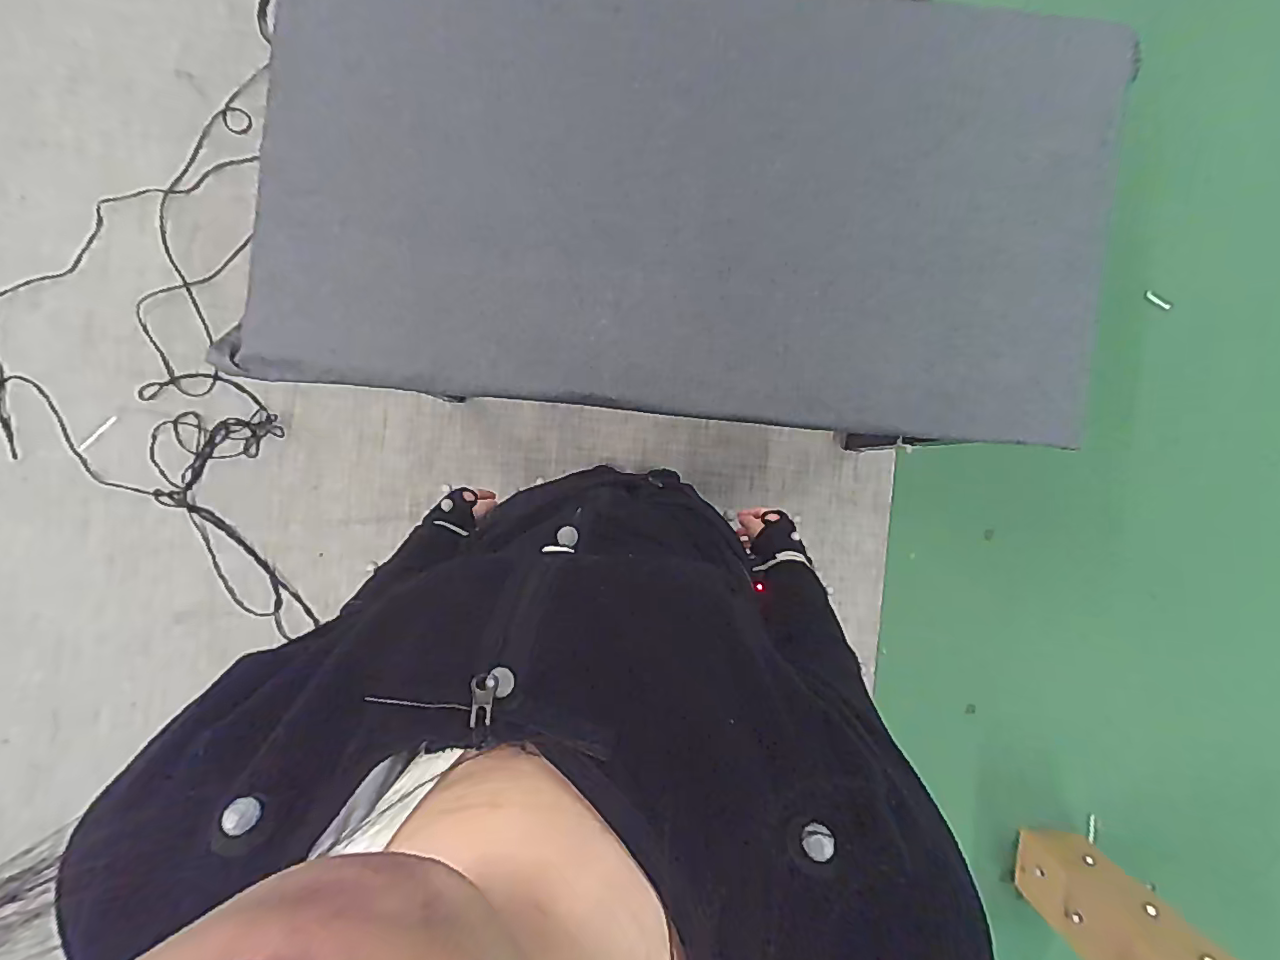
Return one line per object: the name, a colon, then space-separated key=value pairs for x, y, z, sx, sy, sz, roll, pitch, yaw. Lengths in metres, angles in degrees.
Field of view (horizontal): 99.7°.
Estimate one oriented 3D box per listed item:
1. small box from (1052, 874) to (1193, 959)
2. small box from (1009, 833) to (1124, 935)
small box: x=1.143 y=1.086 z=1.291 sx=0.179 sy=0.176 sz=0.168 roll=8 pitch=90 yaw=-1
small box: x=1.139 y=1.087 z=1.457 sx=0.179 sy=0.176 sz=0.168 roll=6 pitch=91 yaw=-2
